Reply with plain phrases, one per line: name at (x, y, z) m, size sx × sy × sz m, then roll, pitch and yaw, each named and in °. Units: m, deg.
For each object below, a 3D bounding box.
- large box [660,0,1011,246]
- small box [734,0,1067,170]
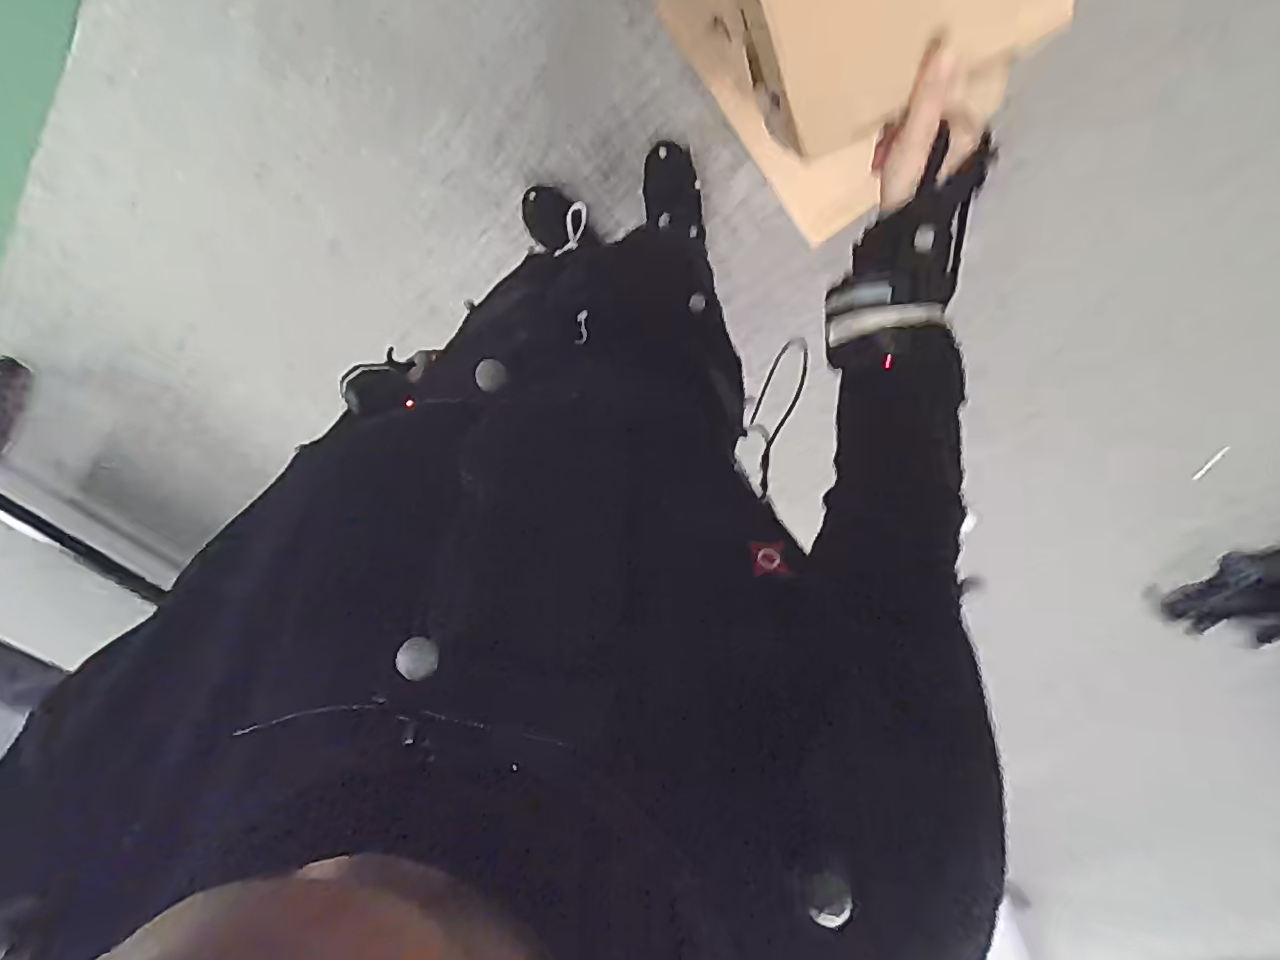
large box at (0.280, -0.664, 0.848) m, size 0.320 × 0.320 × 0.408 m, roll -32°, pitch 118°, yaw 28°
small box at (0.159, -0.354, 0.379) m, size 0.168 × 0.176 × 0.179 m, roll -19°, pitch 120°, yaw 19°
